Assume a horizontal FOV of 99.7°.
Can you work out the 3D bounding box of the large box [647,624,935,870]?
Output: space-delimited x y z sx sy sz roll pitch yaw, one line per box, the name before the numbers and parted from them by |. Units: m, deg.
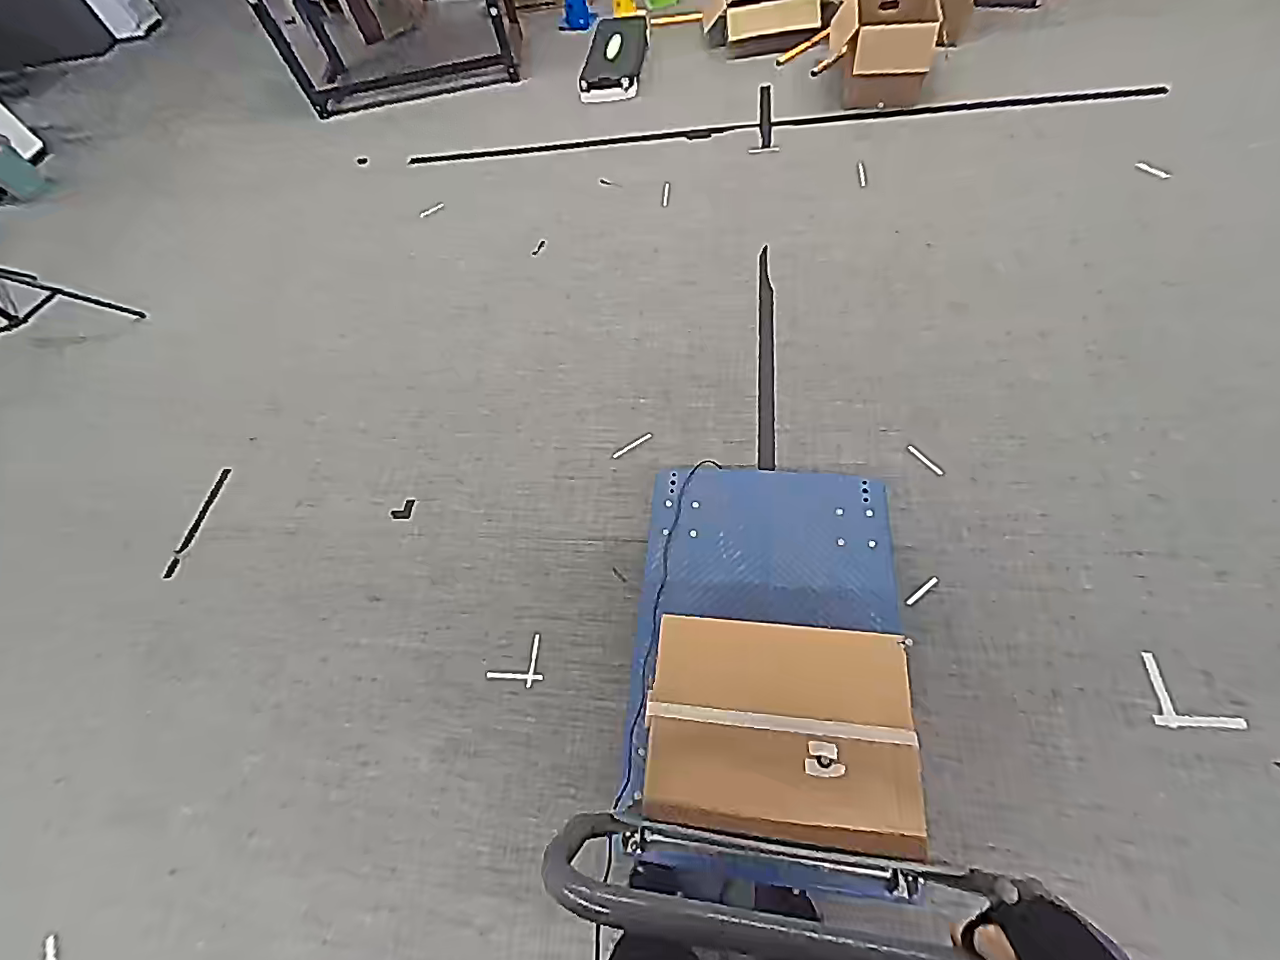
large box | 0.235 0.462 0.957 0.408 0.320 0.320 3 61 9
